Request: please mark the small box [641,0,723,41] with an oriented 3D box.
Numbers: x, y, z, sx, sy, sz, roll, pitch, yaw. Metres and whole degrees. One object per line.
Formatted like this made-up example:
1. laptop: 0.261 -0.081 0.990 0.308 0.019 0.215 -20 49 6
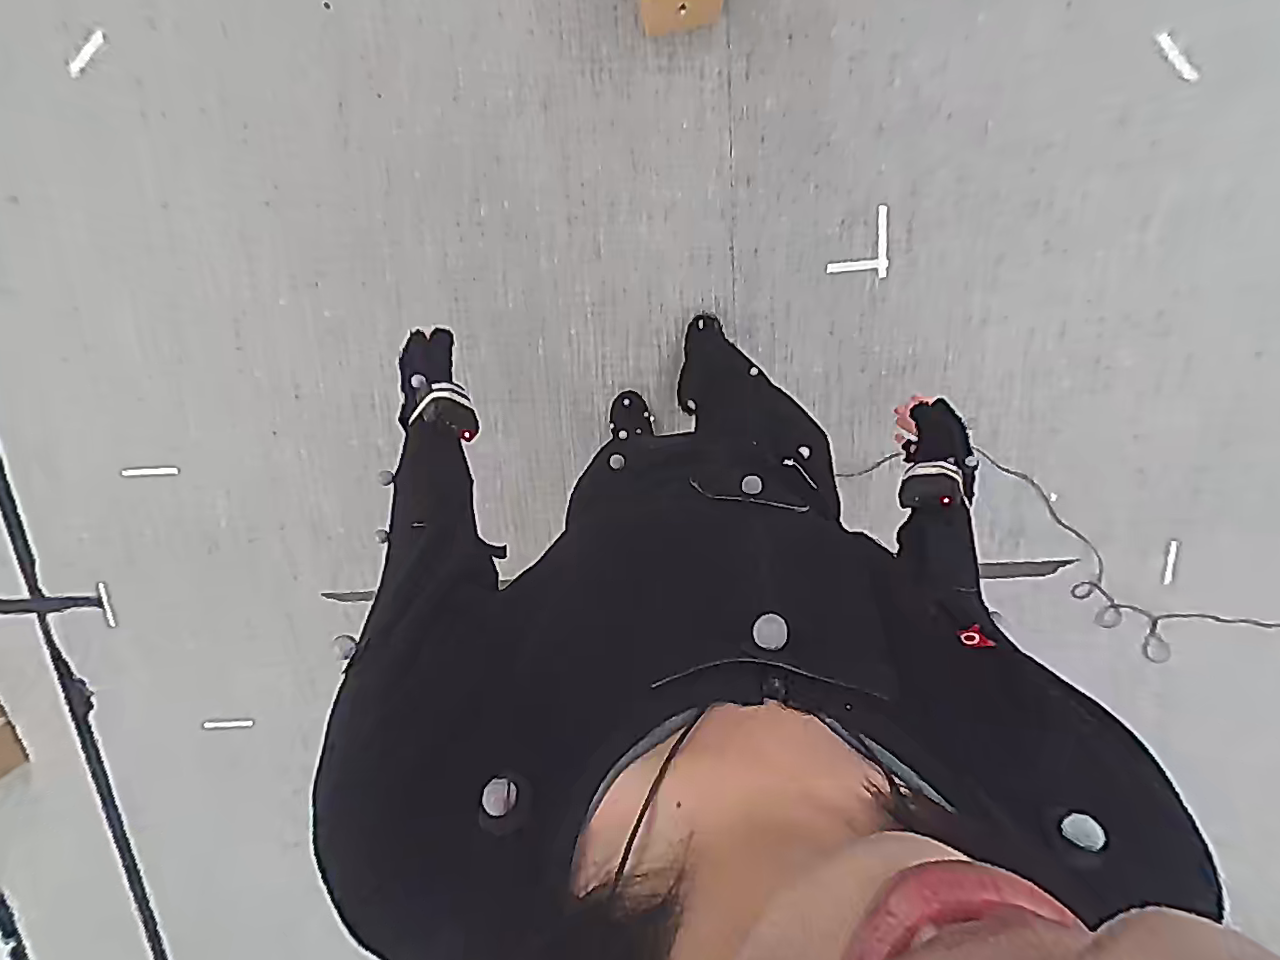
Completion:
1. small box: 0.088 -1.117 1.188 0.179 0.176 0.168 -11 102 3
